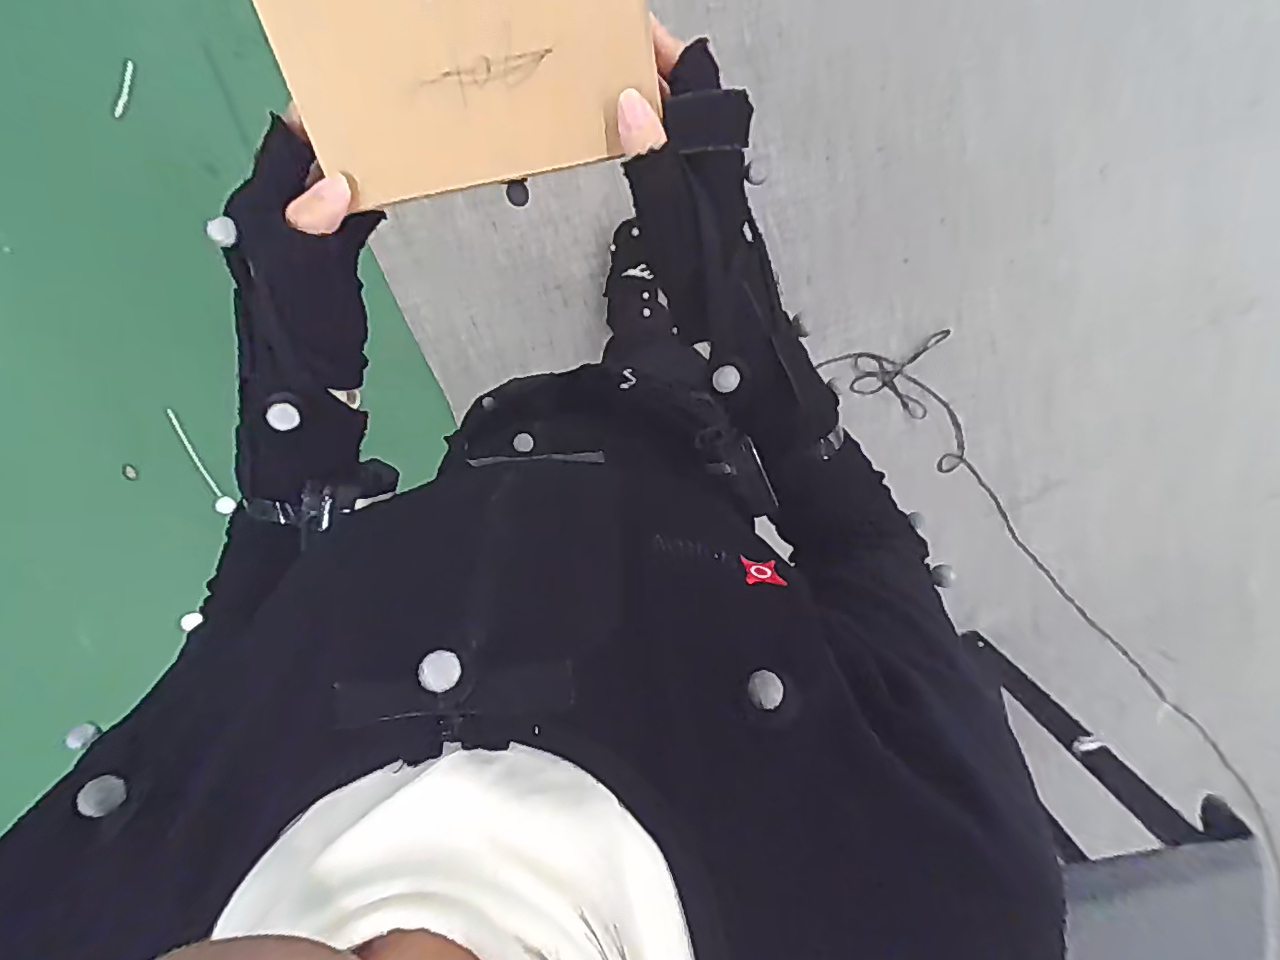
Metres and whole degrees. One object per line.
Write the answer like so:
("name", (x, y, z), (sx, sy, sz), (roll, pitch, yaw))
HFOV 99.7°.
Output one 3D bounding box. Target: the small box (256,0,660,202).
("small box", (-0.089, -0.265, 0.290), (0.168, 0.176, 0.179), (-11, 122, 3))
